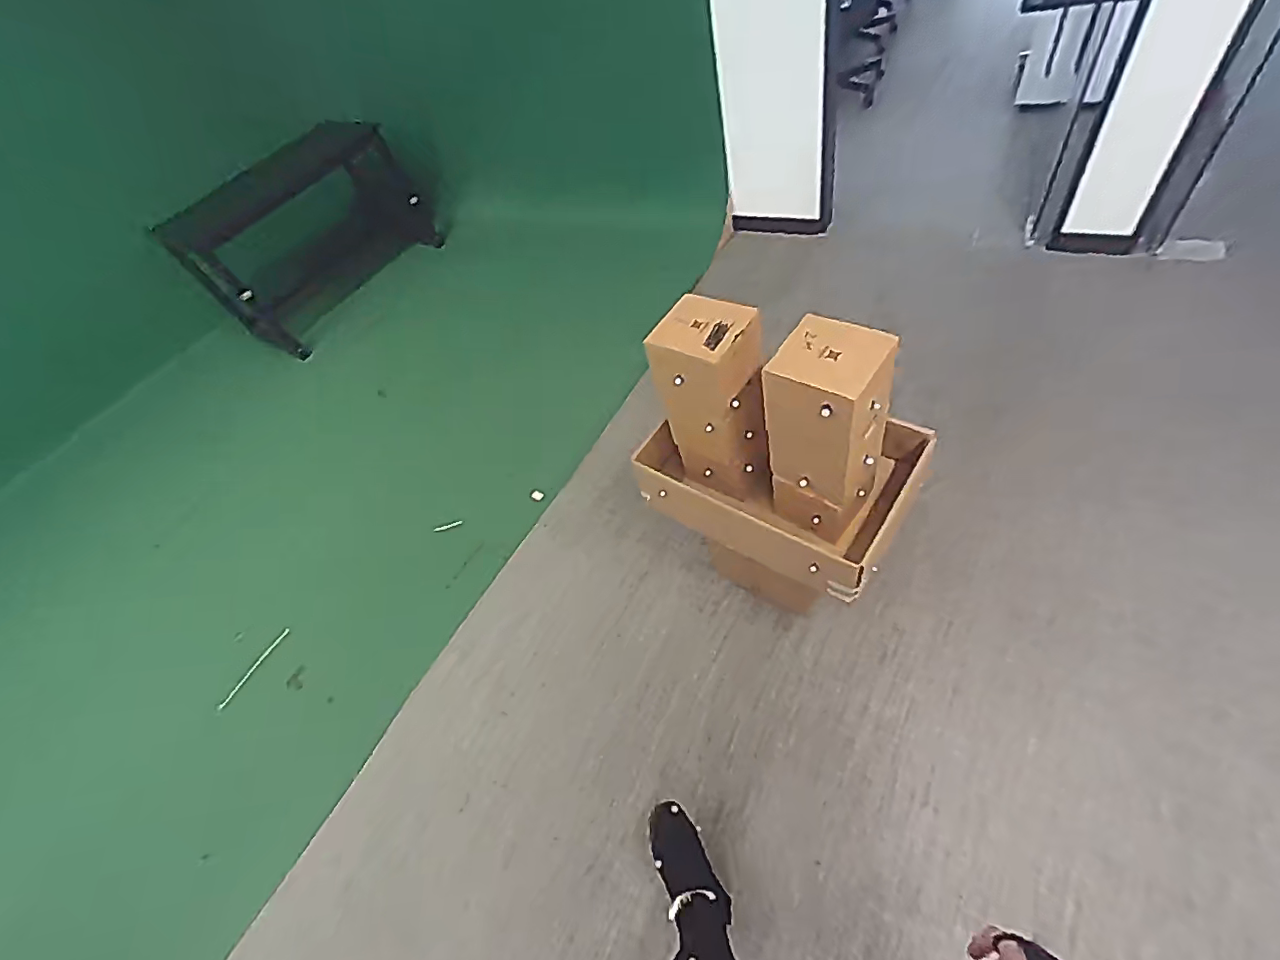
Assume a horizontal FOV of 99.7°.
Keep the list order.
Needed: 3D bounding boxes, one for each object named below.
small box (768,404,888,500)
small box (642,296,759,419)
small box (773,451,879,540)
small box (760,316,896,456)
[{"bbox_3d":[0.391,-0.081,1.138,0.179,0.176,0.168,31,69,31],"label":"small box"},{"bbox_3d":[0.136,-0.253,1.137,0.179,0.176,0.168,24,66,31],"label":"small box"},{"bbox_3d":[0.435,0.011,1.265,0.168,0.176,0.179,31,69,32],"label":"small box"},{"bbox_3d":[0.346,-0.170,1.006,0.179,0.176,0.168,27,67,31],"label":"small box"}]
